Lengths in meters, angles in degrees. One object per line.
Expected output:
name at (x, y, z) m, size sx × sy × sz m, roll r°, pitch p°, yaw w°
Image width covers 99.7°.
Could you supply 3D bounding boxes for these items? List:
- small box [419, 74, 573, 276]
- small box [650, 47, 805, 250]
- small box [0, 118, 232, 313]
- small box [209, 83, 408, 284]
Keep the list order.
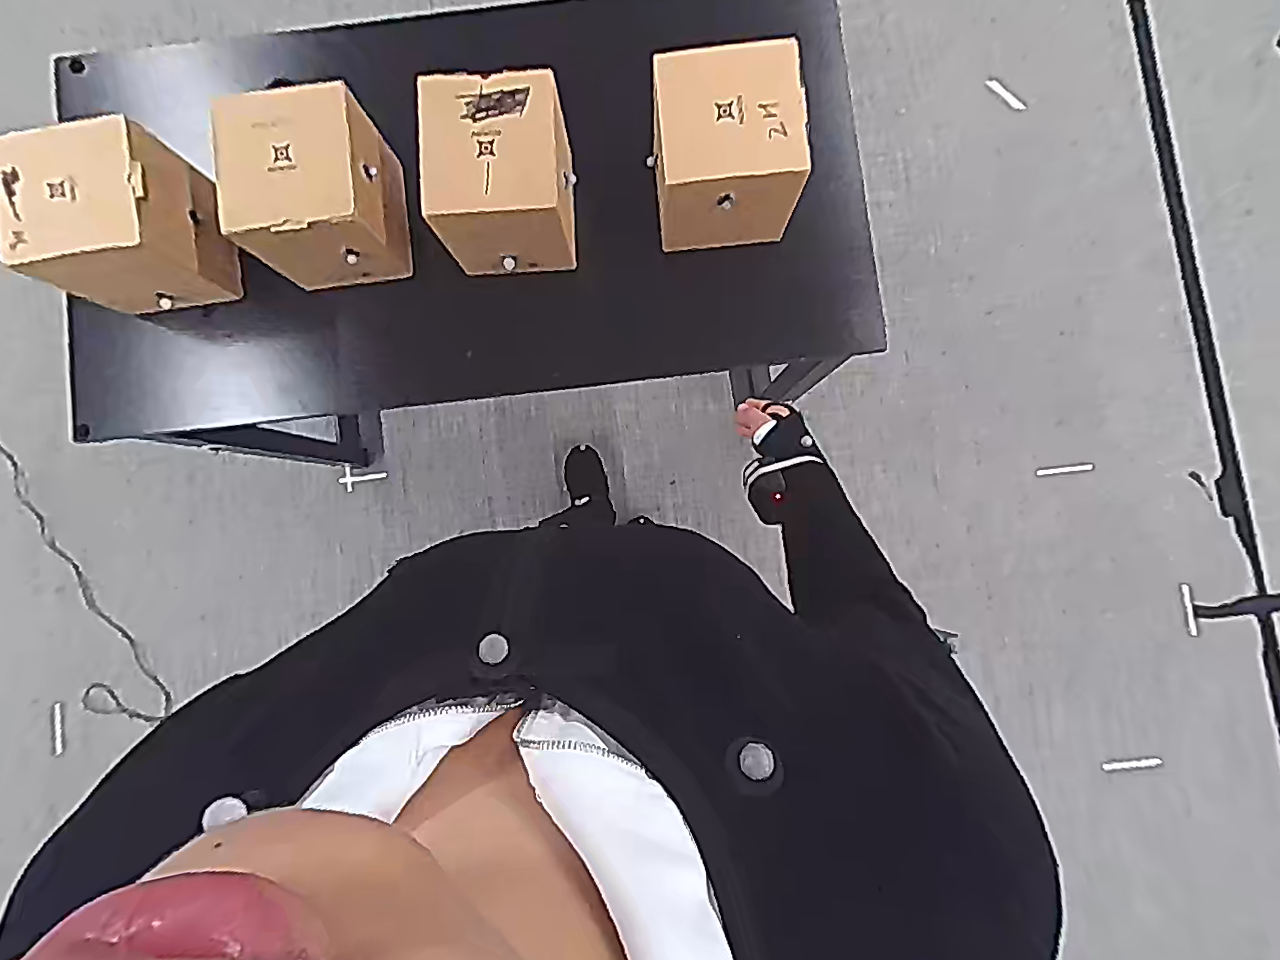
small box at (-0.183, -0.398, 0.728) m, size 0.168 × 0.176 × 0.179 m, roll -3°, pitch 87°, yaw 0°
small box at (0.107, -0.429, 0.728) m, size 0.179 × 0.176 × 0.168 m, roll -5°, pitch 86°, yaw 1°
small box at (-0.691, -0.342, 0.728) m, size 0.179 × 0.176 × 0.168 m, roll -9°, pitch 86°, yaw -1°
small box at (-0.432, -0.382, 0.731) m, size 0.168 × 0.176 × 0.179 m, roll -7°, pitch 85°, yaw -1°
